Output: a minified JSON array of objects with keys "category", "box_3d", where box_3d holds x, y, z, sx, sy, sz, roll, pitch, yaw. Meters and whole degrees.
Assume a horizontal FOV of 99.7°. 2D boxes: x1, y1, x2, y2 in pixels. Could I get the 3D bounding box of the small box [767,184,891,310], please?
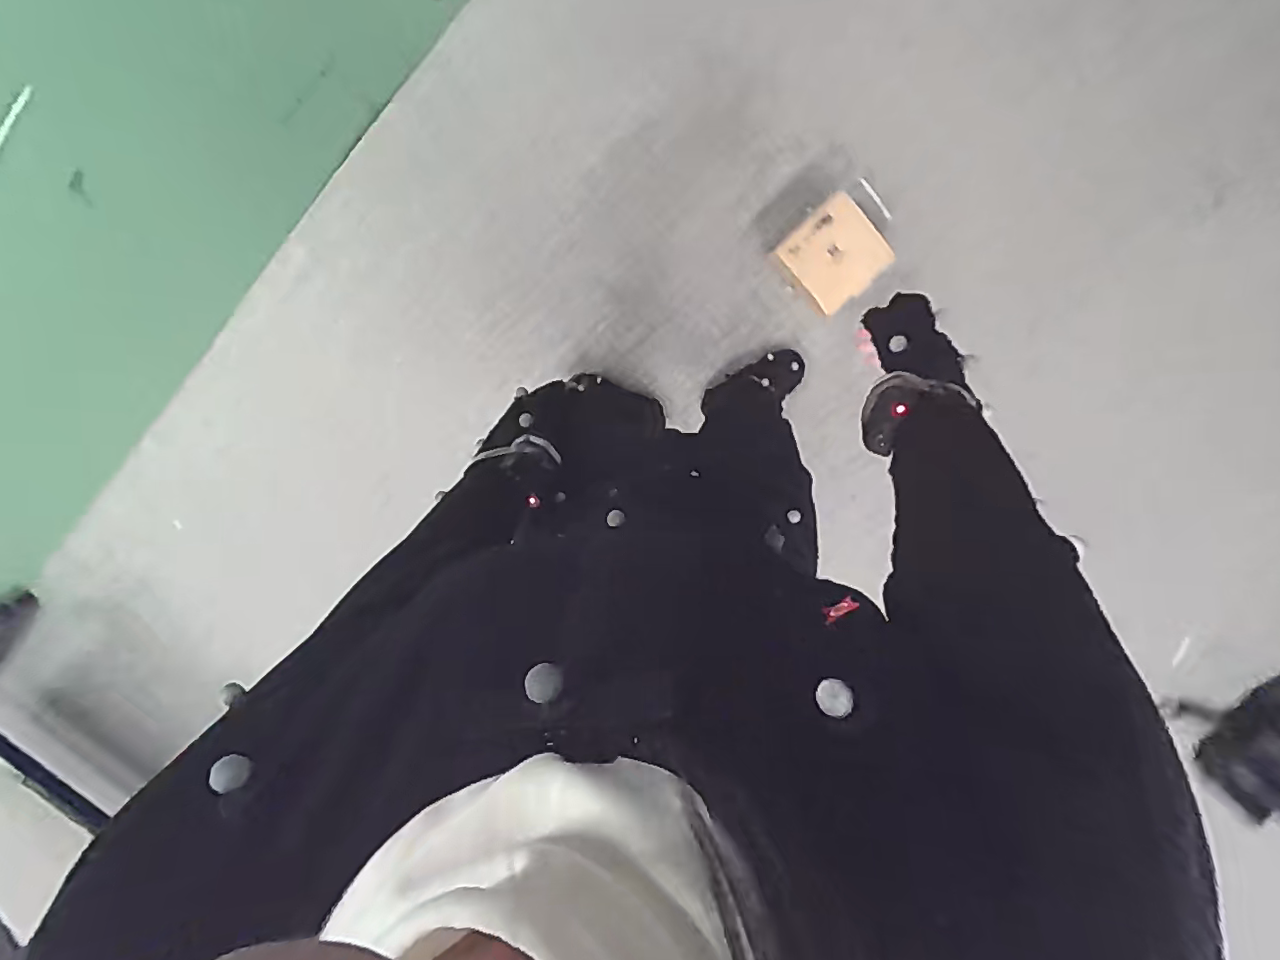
[{"category":"small box","box_3d":[0.392,-0.490,1.151,0.168,0.176,0.179,-39,101,17]}]
